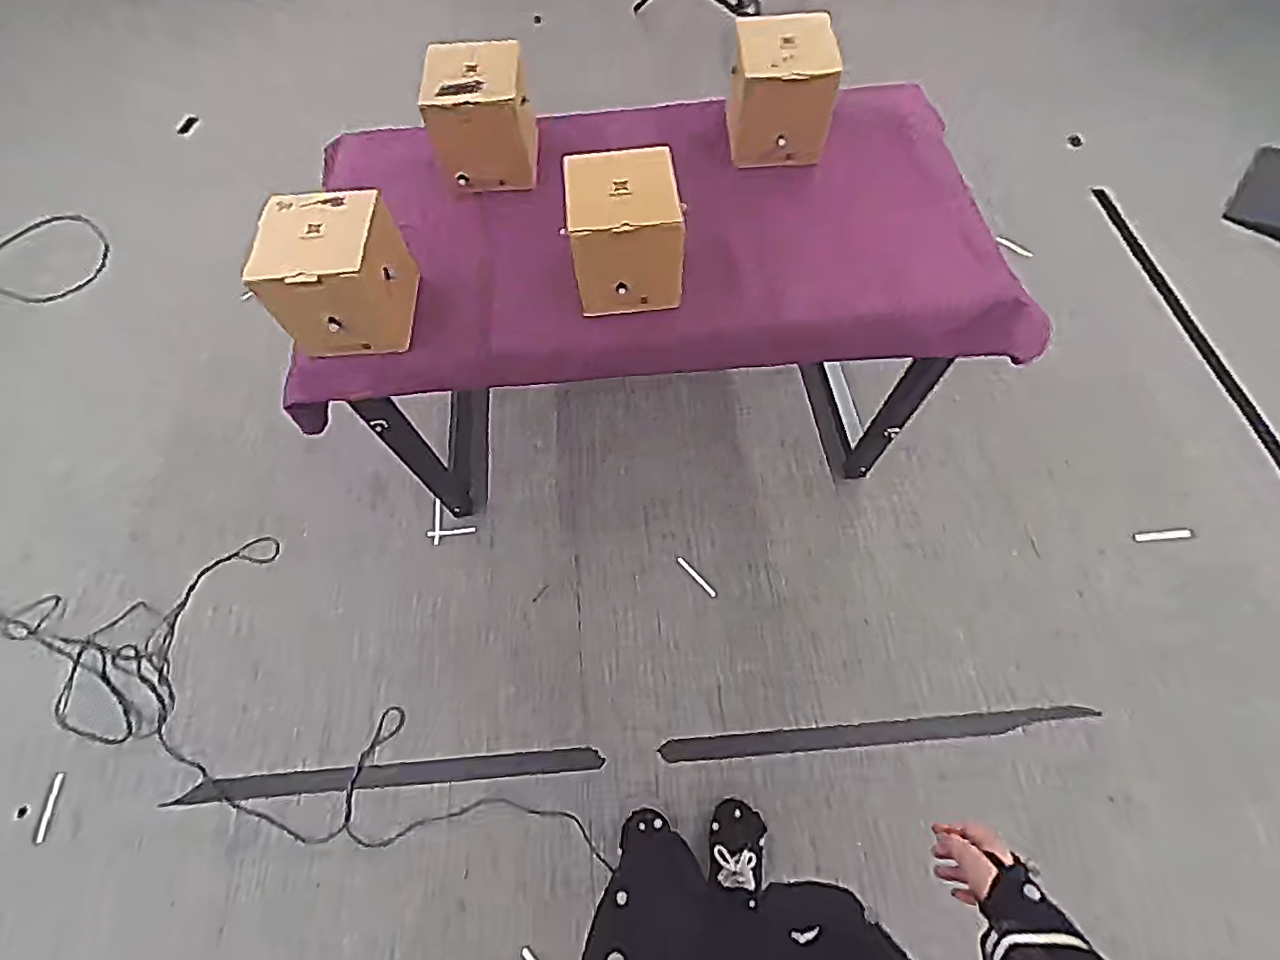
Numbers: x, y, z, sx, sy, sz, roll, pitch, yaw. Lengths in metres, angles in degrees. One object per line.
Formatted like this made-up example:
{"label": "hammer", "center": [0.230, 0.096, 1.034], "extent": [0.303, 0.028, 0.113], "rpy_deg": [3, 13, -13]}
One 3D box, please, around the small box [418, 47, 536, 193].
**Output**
{"label": "small box", "center": [-0.295, -0.664, 1.014], "extent": [0.168, 0.176, 0.179], "rpy_deg": [-3, 66, 0]}

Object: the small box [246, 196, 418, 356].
{"label": "small box", "center": [-0.469, -0.311, 0.855], "extent": [0.168, 0.176, 0.179], "rpy_deg": [-4, 65, -1]}

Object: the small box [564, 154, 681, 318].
{"label": "small box", "center": [-0.029, -0.392, 0.881], "extent": [0.168, 0.176, 0.179], "rpy_deg": [-7, 64, -1]}

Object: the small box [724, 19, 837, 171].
{"label": "small box", "center": [0.253, -0.719, 1.018], "extent": [0.168, 0.176, 0.179], "rpy_deg": [-3, 67, 2]}
